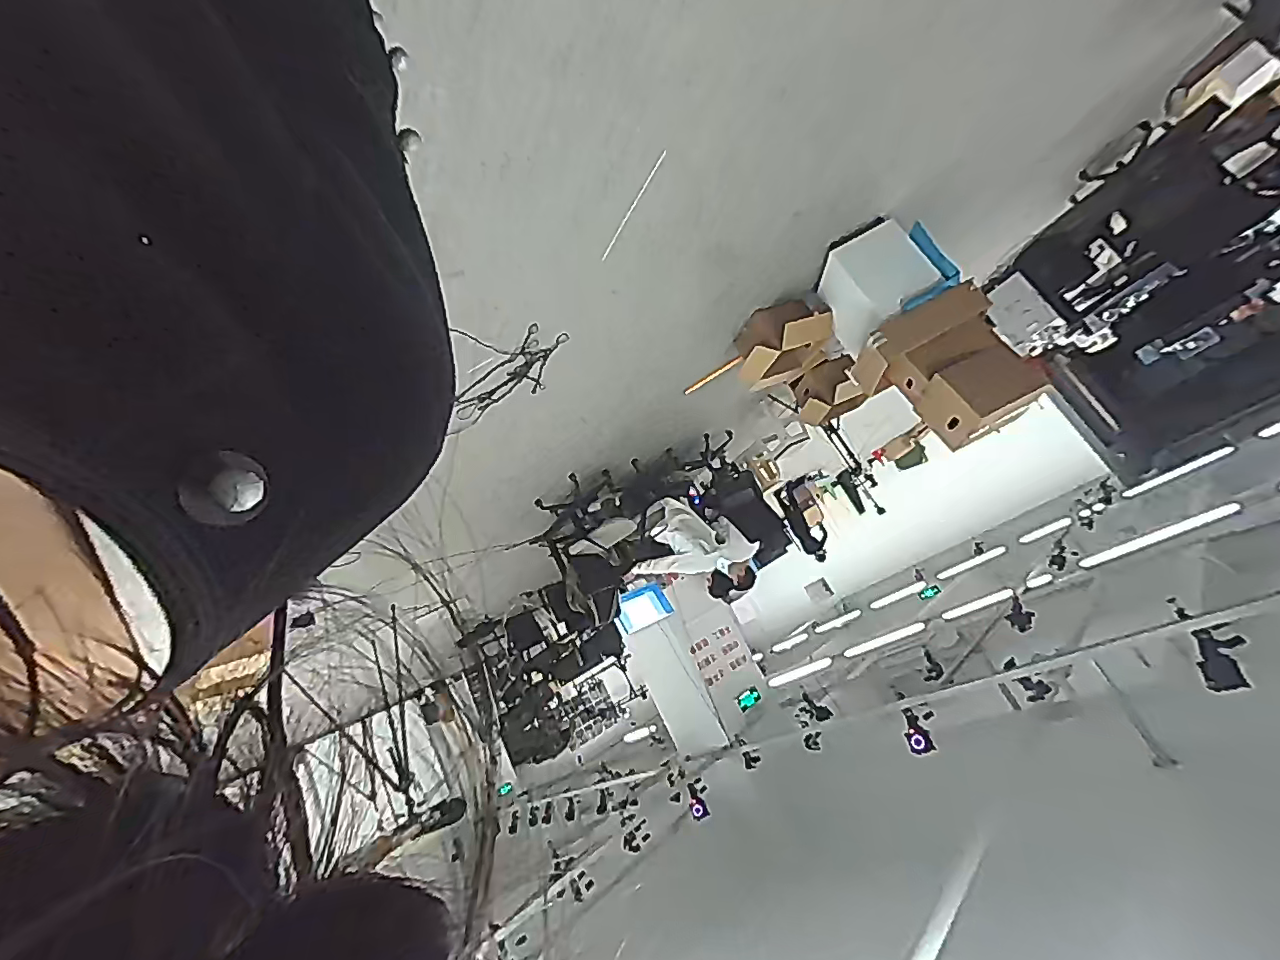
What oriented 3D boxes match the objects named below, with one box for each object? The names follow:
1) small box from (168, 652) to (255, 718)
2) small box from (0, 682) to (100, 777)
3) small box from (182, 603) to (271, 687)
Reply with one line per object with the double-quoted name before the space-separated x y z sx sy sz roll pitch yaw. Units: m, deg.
"small box" -1.429 0.655 1.801 0.168 0.176 0.179 -40 159 29
"small box" -1.671 0.696 1.523 0.179 0.176 0.168 -14 156 -44
"small box" -1.237 0.483 1.611 0.179 0.176 0.168 -40 160 34
